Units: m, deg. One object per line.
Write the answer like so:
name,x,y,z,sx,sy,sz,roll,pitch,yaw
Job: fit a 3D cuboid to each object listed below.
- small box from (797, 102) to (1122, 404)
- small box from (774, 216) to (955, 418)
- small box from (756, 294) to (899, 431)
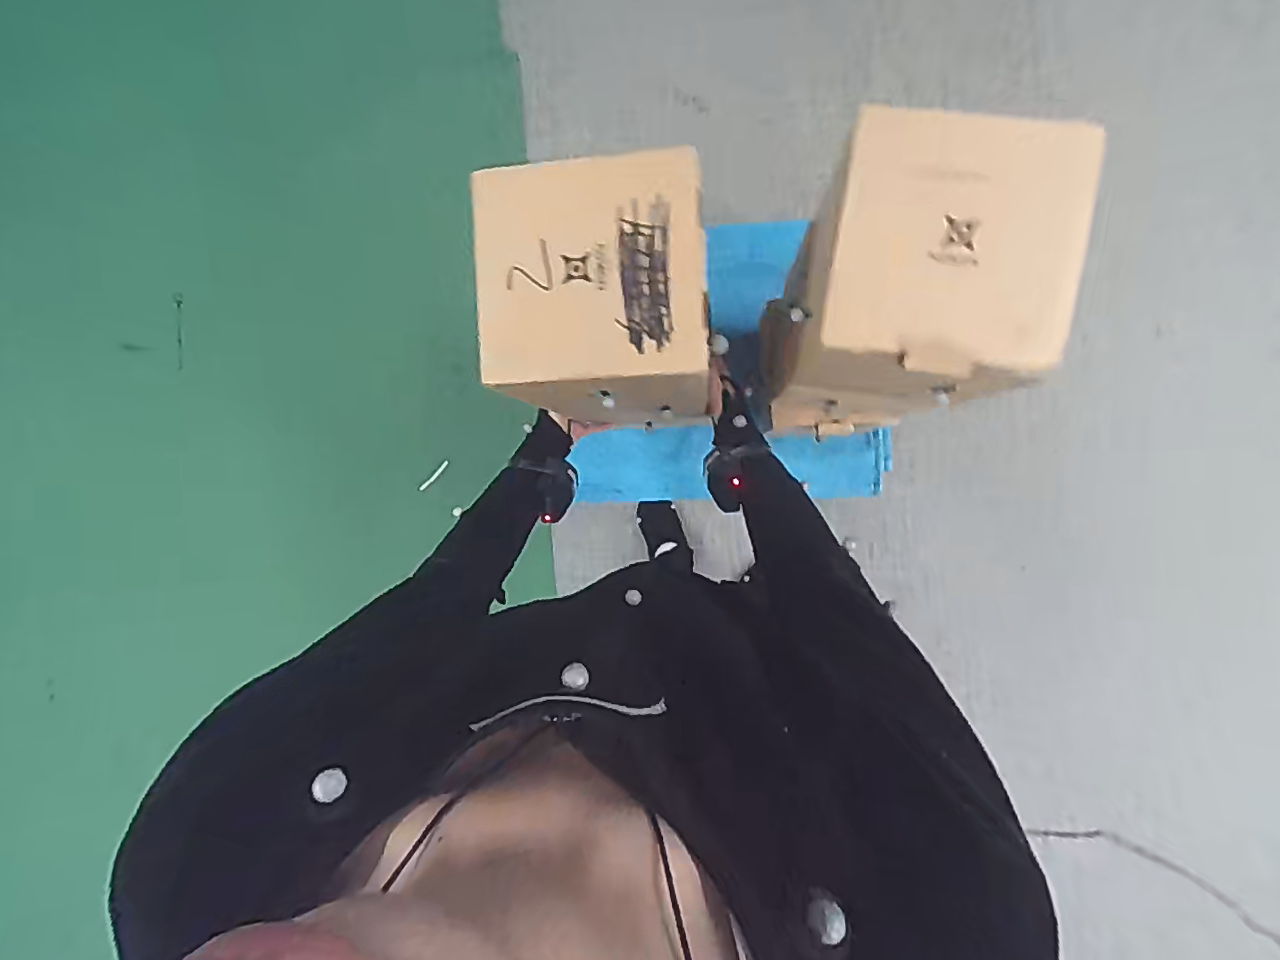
small box,0.236,-0.167,0.451,0.168,0.176,0.179,10,91,6
small box,0.252,-0.169,0.613,0.168,0.176,0.179,8,92,6
small box,0.259,-0.160,0.776,0.168,0.176,0.179,-1,92,6
